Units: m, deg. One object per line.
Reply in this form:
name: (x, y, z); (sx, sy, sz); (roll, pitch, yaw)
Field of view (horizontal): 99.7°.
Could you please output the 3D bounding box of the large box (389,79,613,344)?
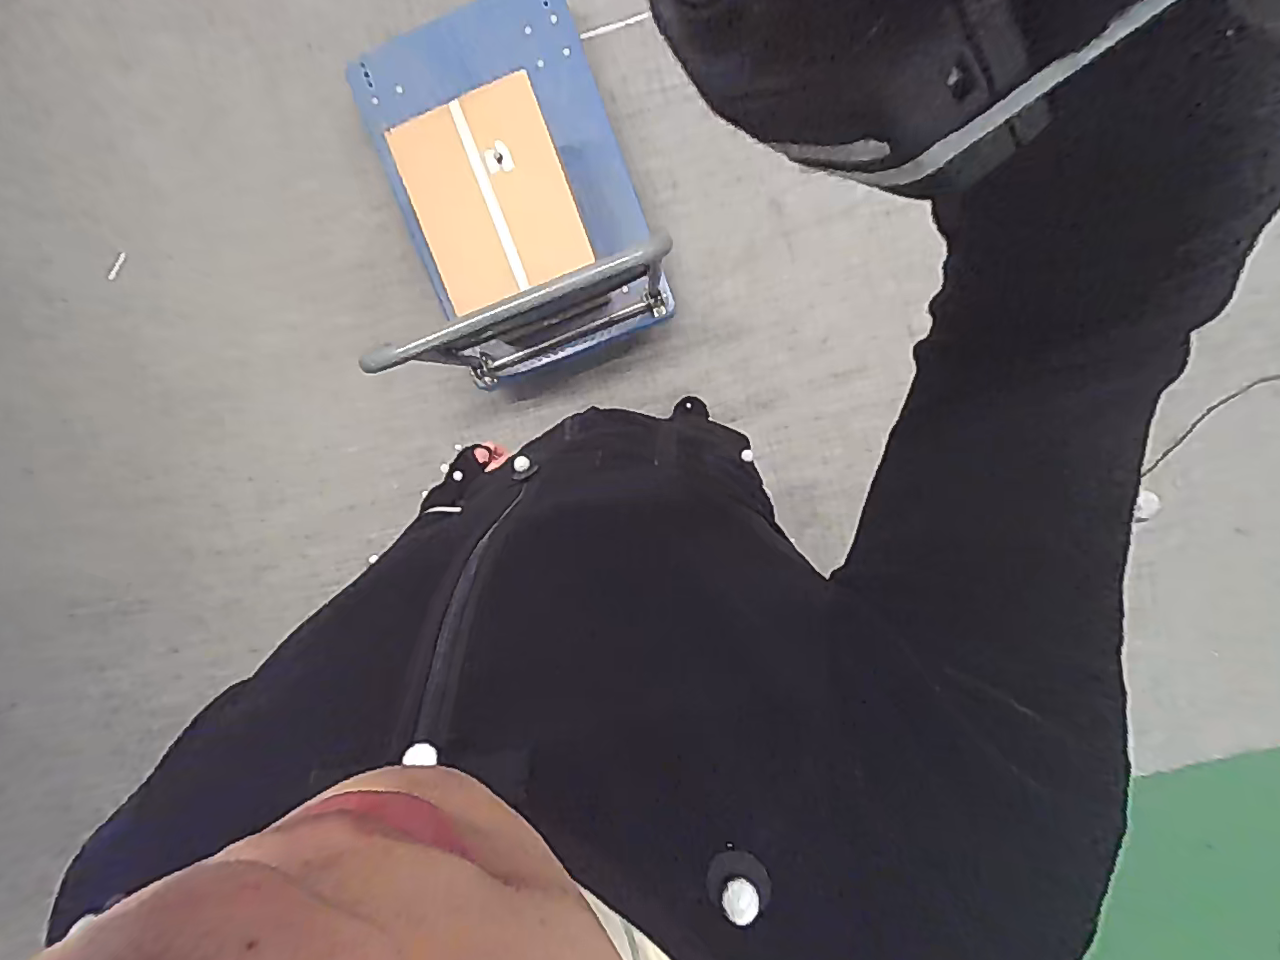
large box: (-0.288, -0.573, 1.244); (0.320, 0.320, 0.408); (-20, 95, 4)
